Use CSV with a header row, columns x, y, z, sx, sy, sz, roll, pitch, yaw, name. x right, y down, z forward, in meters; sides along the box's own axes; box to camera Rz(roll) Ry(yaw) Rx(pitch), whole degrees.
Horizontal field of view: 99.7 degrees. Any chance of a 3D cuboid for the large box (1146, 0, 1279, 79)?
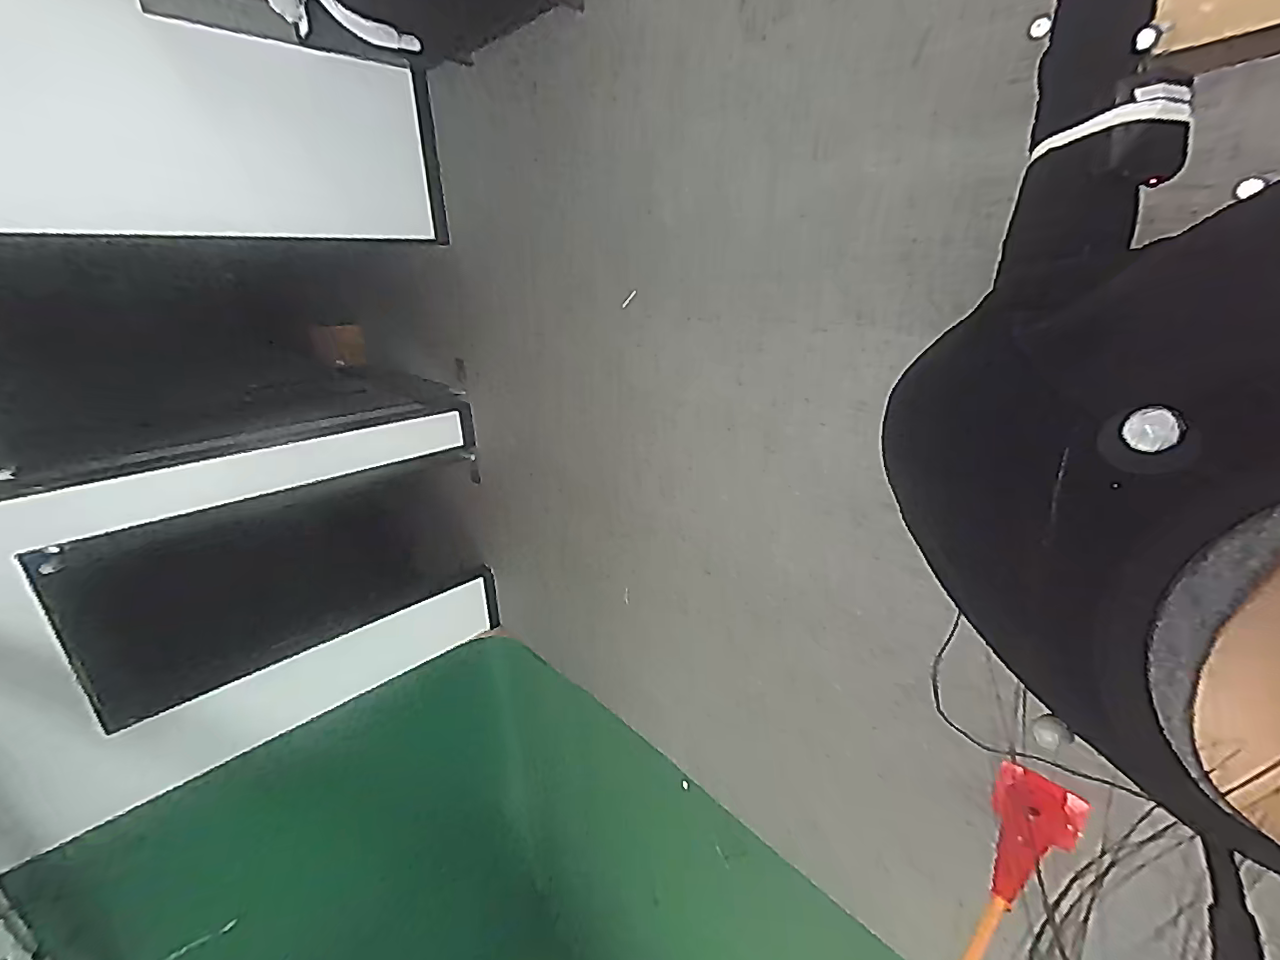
x,y,z,sx,sy,sz,roll,pitch,yaw,name
0.589,-0.478,0.306,0.408,0.320,0.320,11,121,39,large box
